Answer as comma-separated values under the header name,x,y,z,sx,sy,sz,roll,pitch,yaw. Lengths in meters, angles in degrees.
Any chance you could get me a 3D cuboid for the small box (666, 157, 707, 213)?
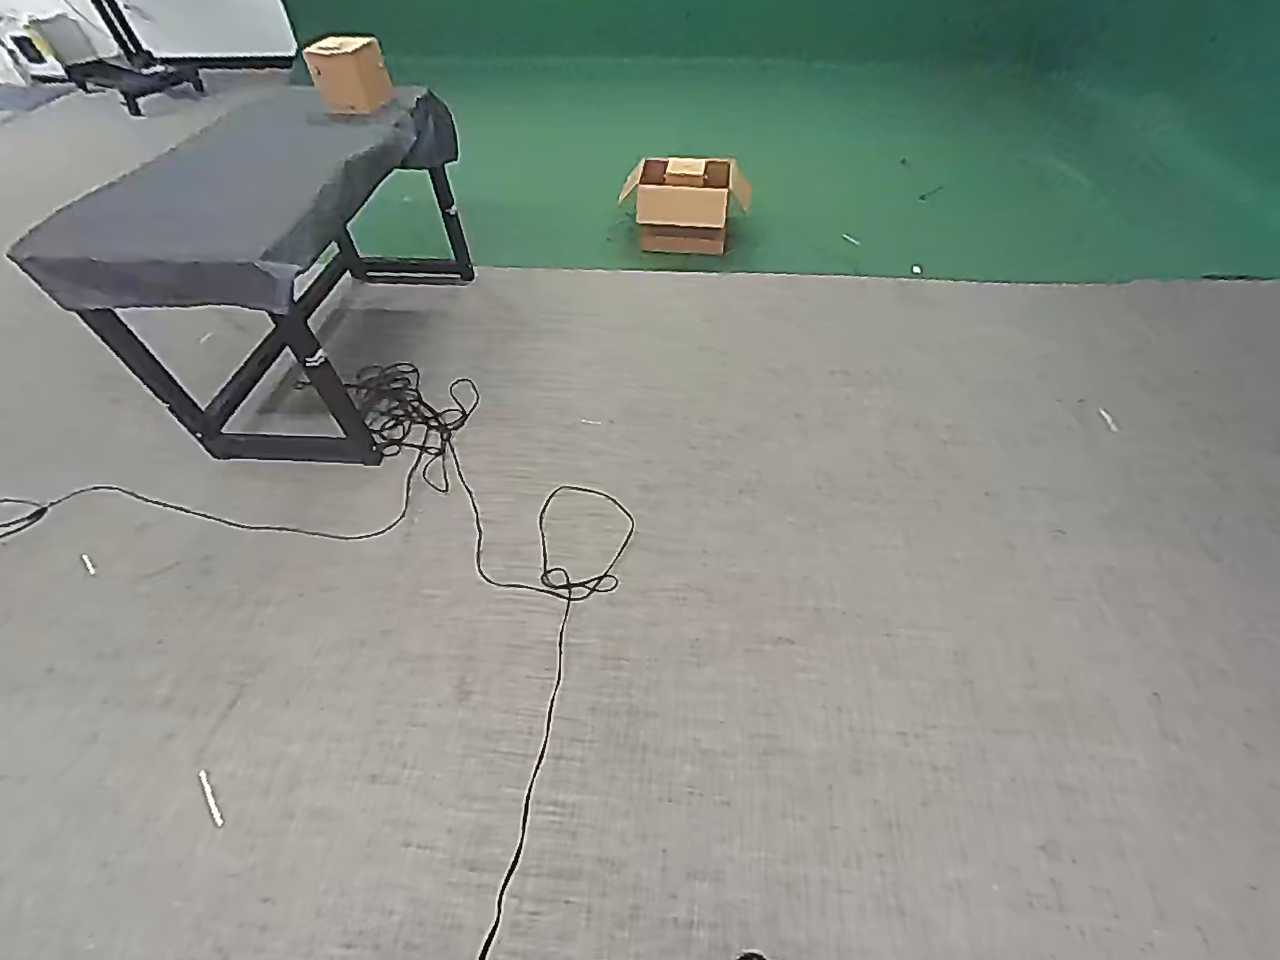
name,x,y,z,sx,sy,sz,roll,pitch,yaw
small box,0.211,-1.347,2.468,0.168,0.176,0.179,6,51,6
